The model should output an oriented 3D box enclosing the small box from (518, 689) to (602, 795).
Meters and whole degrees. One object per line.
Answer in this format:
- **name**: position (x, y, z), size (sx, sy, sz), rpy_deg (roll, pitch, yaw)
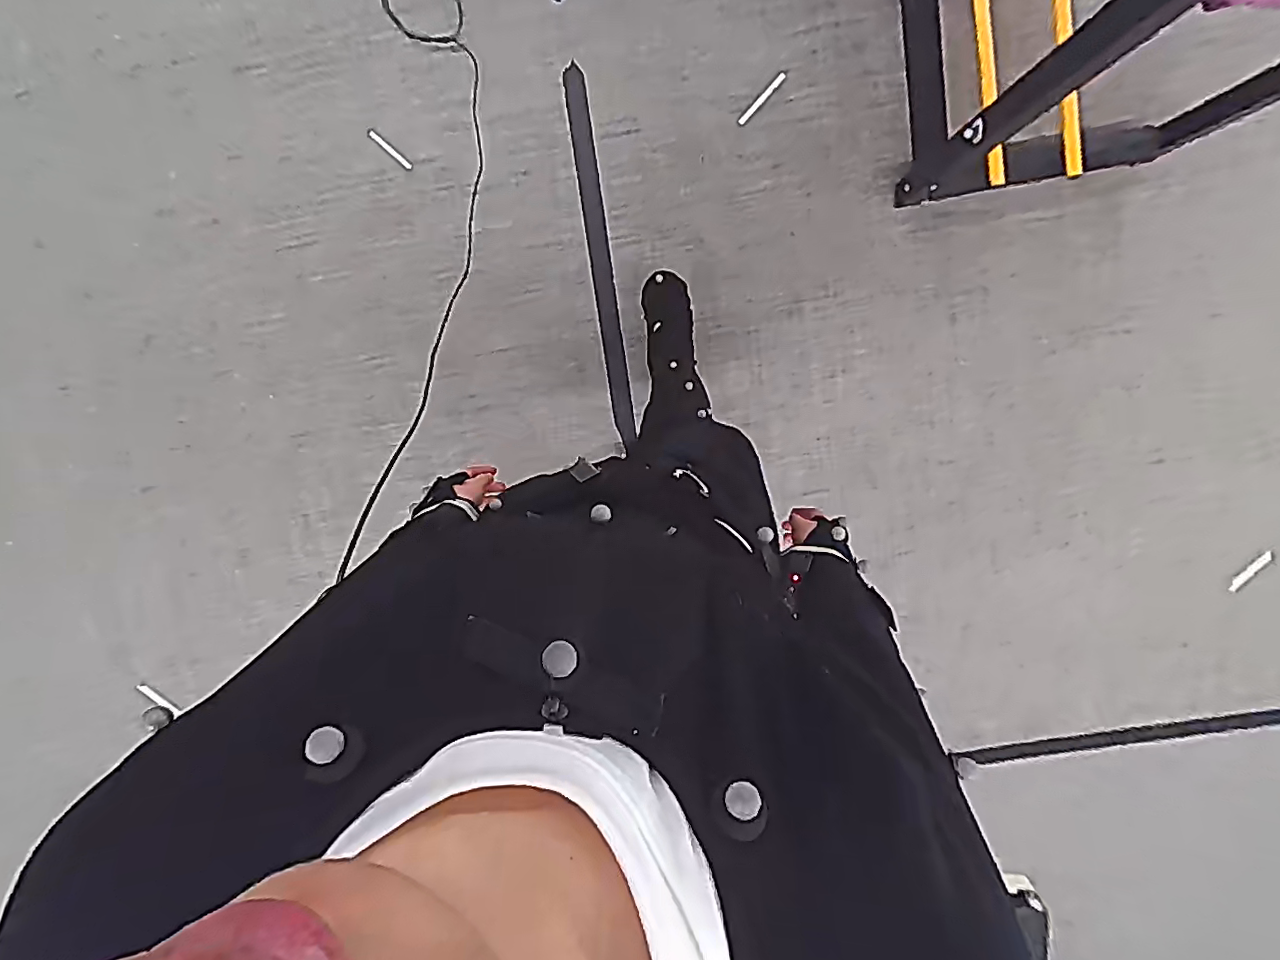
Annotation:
- **small box**: position (-0.197, 0.664, 1.382), size (0.168, 0.176, 0.179), rpy_deg (-8, 98, 3)
